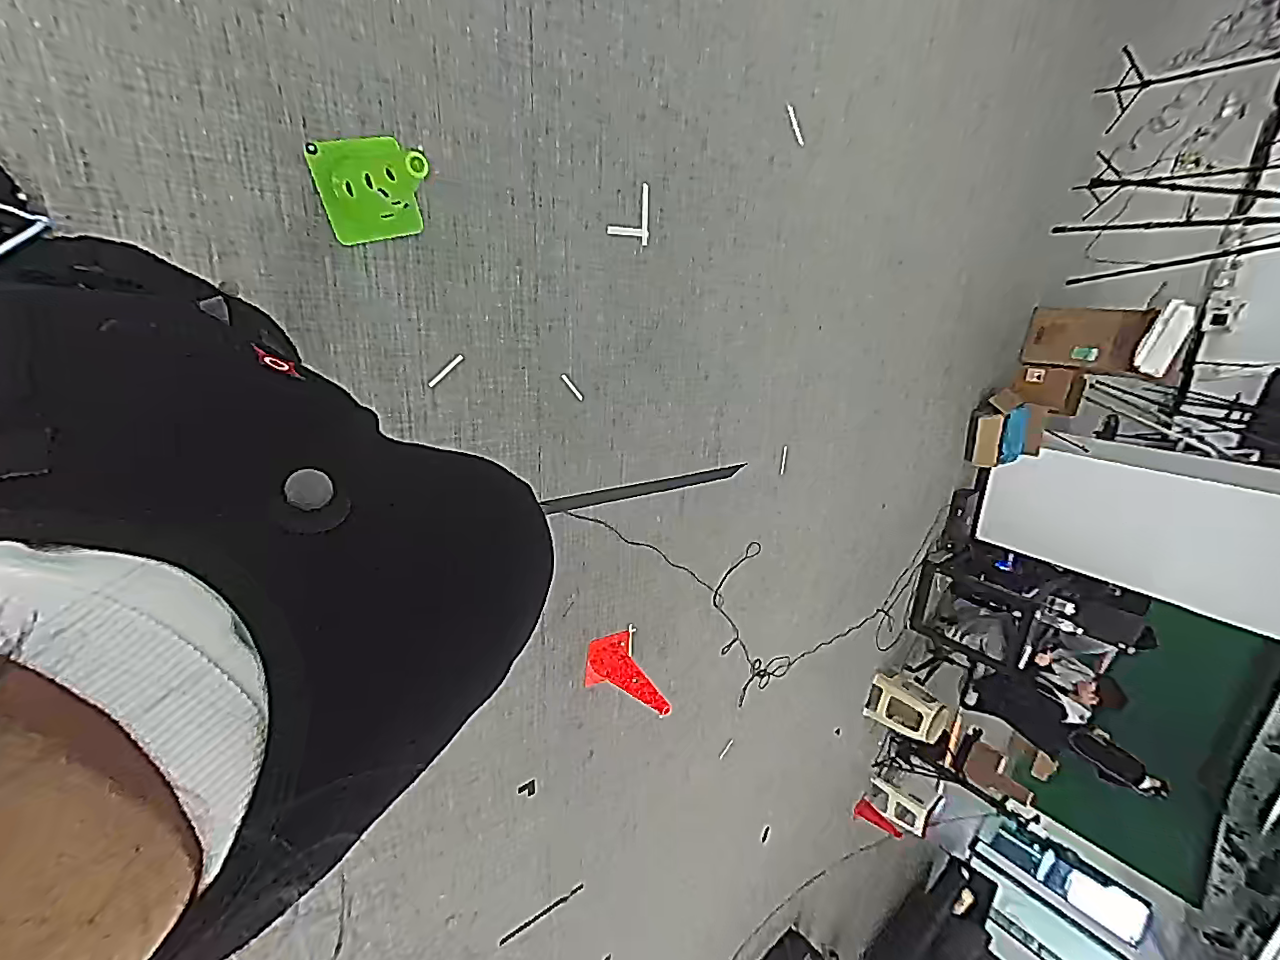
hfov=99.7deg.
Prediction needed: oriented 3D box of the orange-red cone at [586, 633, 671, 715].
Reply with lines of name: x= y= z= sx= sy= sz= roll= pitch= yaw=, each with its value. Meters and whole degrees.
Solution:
orange-red cone: x=-0.018 y=0.743 z=1.980 sx=0.199 sy=0.360 sz=0.198 roll=-2 pitch=106 yaw=-39

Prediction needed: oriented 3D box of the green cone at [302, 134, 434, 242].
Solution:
green cone: x=-0.499 y=-0.600 z=1.076 sx=0.202 sy=0.368 sz=0.200 roll=-29 pitch=123 yaw=-31
